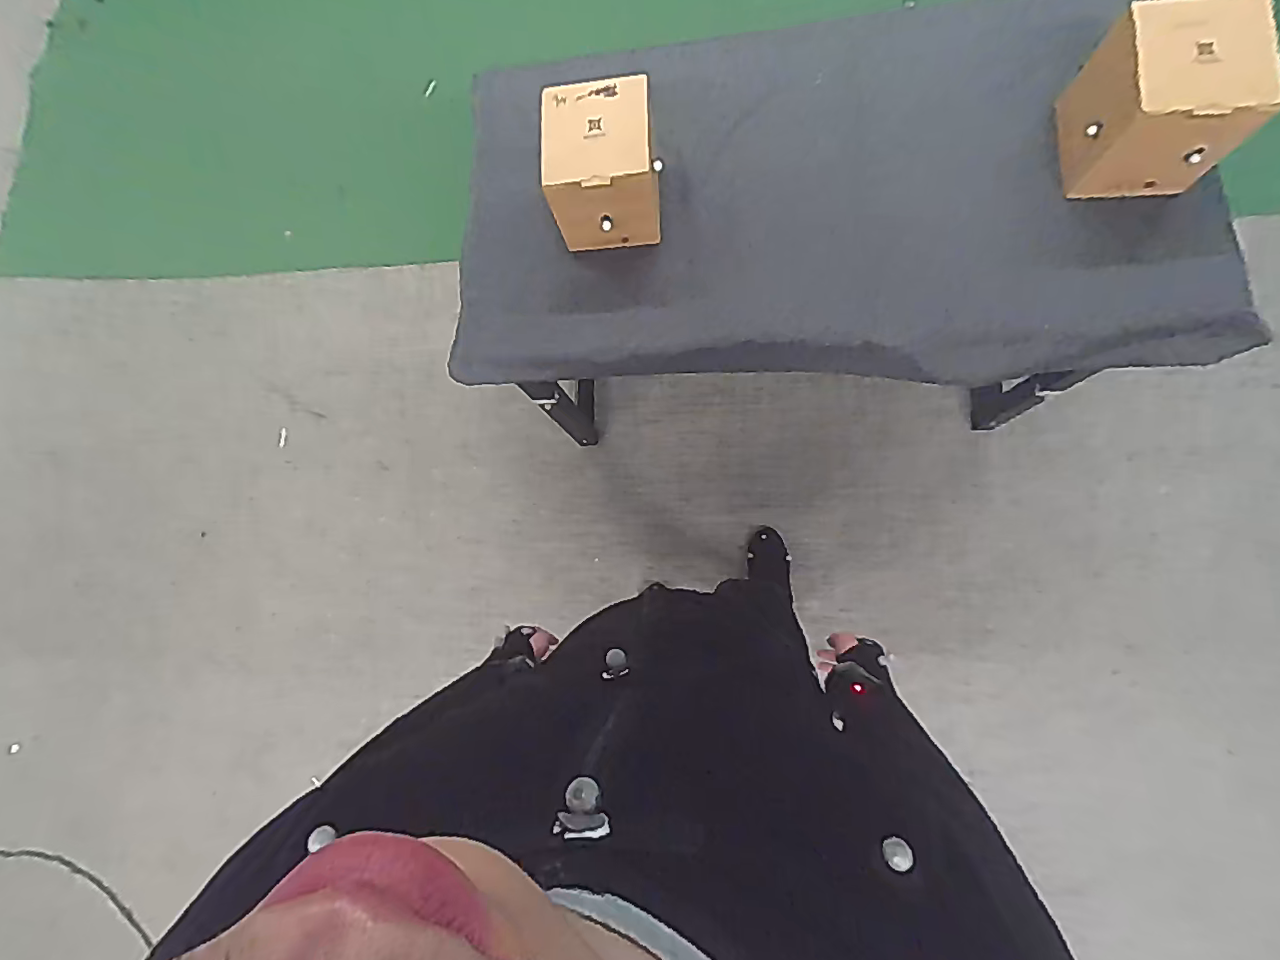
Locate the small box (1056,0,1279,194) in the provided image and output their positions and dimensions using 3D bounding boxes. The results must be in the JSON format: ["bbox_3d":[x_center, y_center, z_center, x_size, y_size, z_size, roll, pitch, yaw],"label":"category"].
[{"bbox_3d":[0.744,-0.539,0.782,0.168,0.176,0.179,2,79,7],"label":"small box"}]

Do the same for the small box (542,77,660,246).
[{"bbox_3d":[-0.056,-0.507,0.890,0.168,0.176,0.179,-3,79,7],"label":"small box"}]
